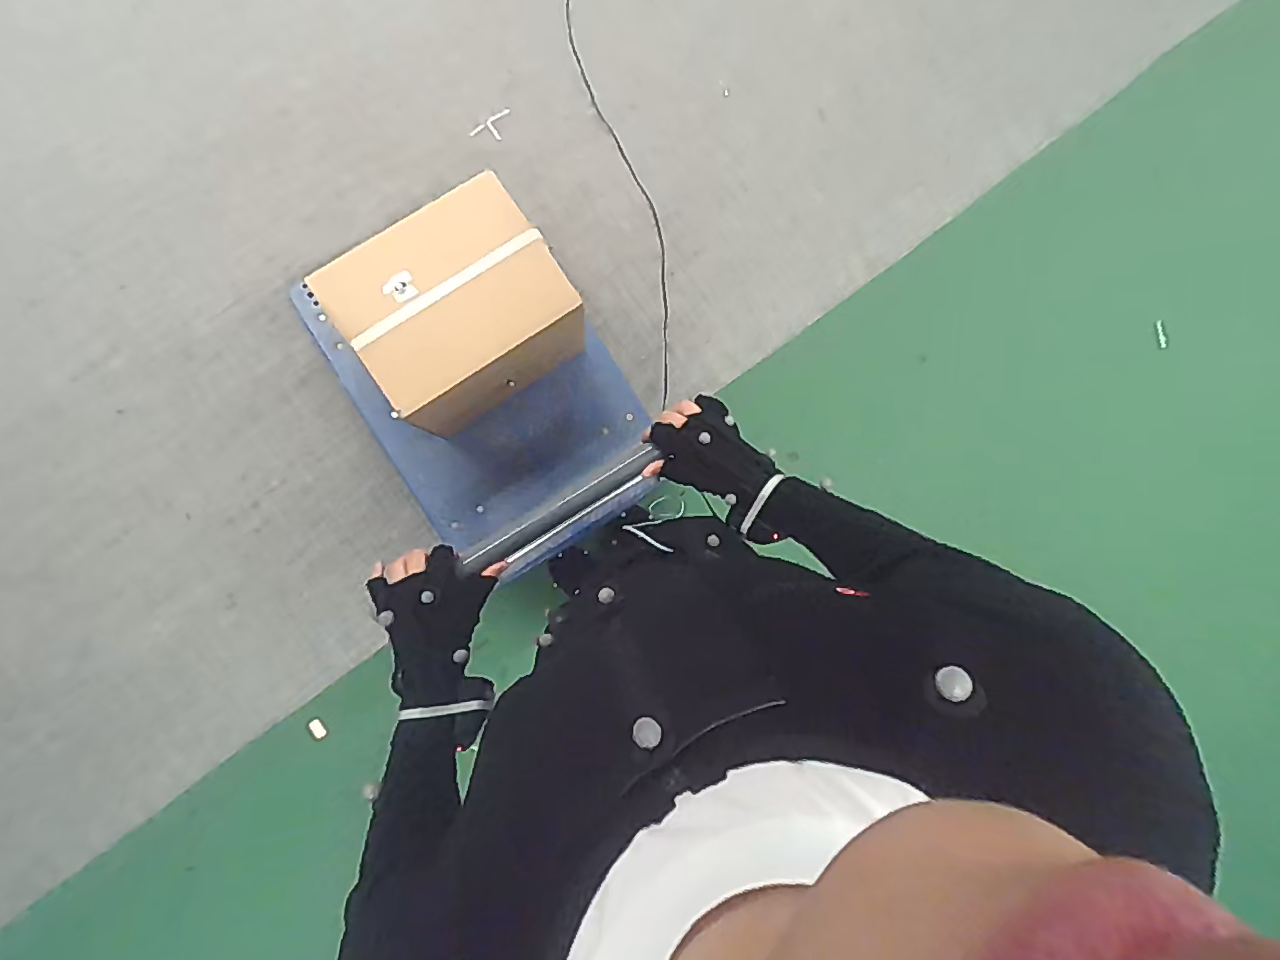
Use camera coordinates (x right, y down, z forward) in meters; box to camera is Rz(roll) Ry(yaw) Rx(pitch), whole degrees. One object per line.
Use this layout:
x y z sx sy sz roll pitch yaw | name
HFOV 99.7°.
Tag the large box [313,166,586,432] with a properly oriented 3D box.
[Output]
-0.361 -0.351 1.148 0.408 0.320 0.320 -35 90 -6 | large box
